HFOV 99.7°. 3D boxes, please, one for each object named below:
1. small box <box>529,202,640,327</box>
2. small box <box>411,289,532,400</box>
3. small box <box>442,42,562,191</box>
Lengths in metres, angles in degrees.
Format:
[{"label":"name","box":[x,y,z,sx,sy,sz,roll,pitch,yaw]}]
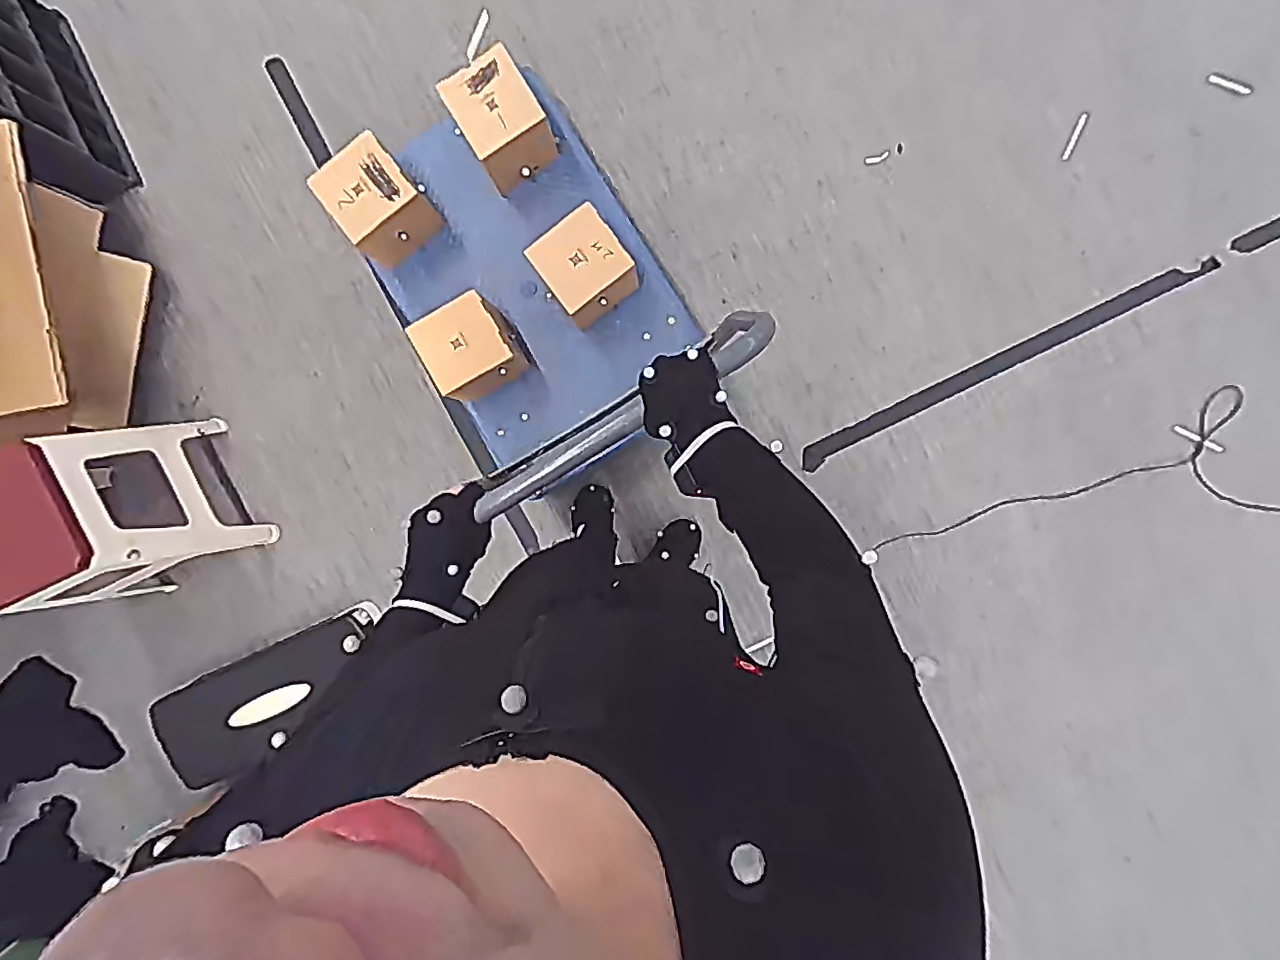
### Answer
[{"label":"small box","box":[-0.113,-0.464,1.199,0.179,0.176,0.168,-36,93,4]},{"label":"small box","box":[-0.370,-0.294,1.219,0.179,0.176,0.168,-29,92,2]},{"label":"small box","box":[-0.292,-0.779,1.181,0.168,0.176,0.179,-31,94,4]}]
